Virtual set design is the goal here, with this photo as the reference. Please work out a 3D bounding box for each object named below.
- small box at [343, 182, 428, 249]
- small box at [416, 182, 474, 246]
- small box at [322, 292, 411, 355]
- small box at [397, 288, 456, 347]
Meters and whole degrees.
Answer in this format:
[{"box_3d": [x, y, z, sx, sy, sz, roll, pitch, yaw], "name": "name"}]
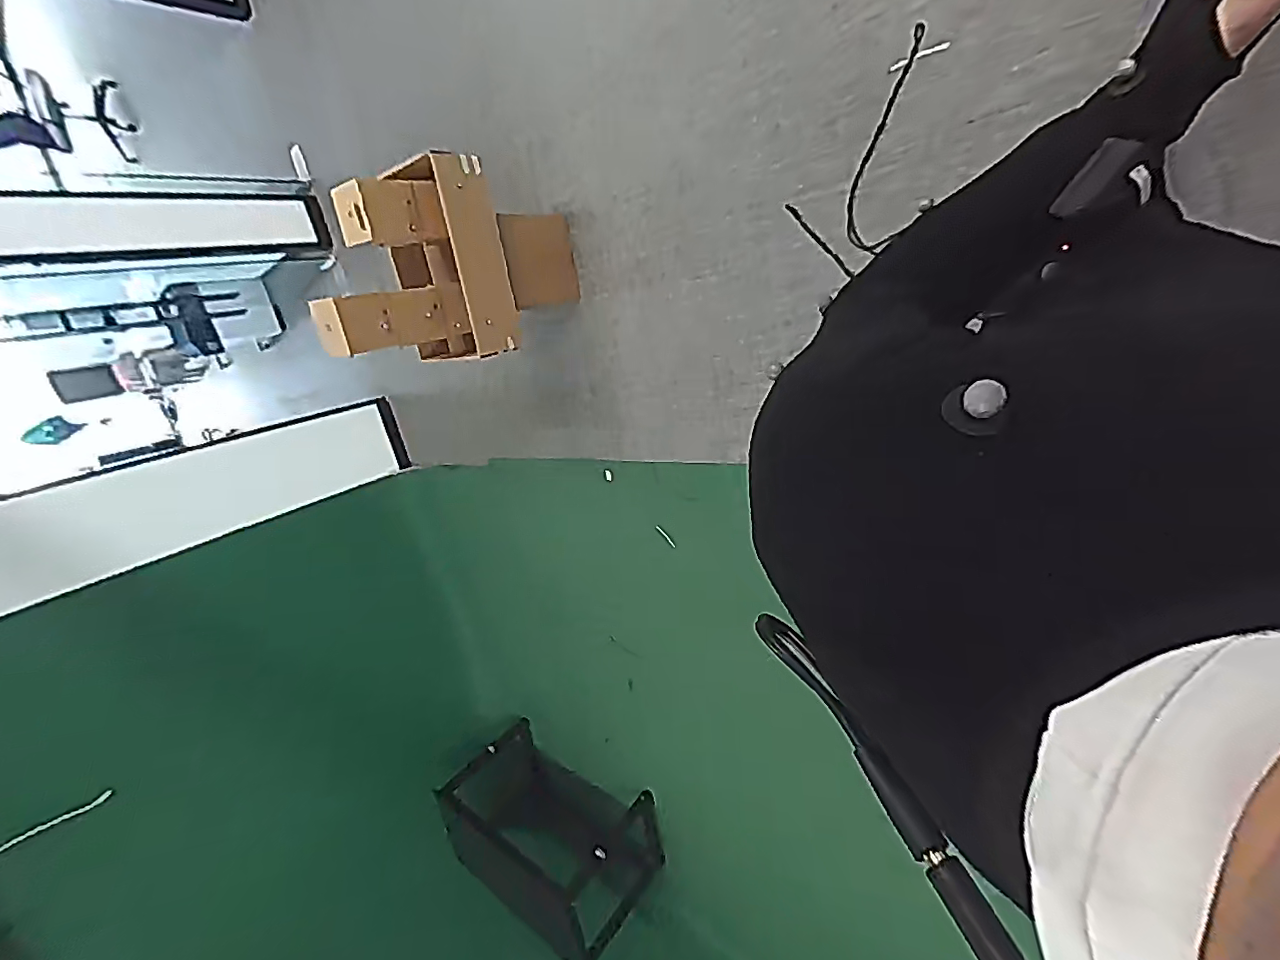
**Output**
[{"box_3d": [-0.783, -0.823, 1.688, 0.179, 0.176, 0.168, 10, 116, 39], "name": "small box"}, {"box_3d": [-0.686, -0.883, 1.807, 0.179, 0.176, 0.168, 8, 115, 39], "name": "small box"}, {"box_3d": [-0.843, -0.483, 1.675, 0.179, 0.176, 0.168, 10, 118, 39], "name": "small box"}, {"box_3d": [-0.741, -0.539, 1.789, 0.179, 0.176, 0.168, 11, 118, 38], "name": "small box"}]
